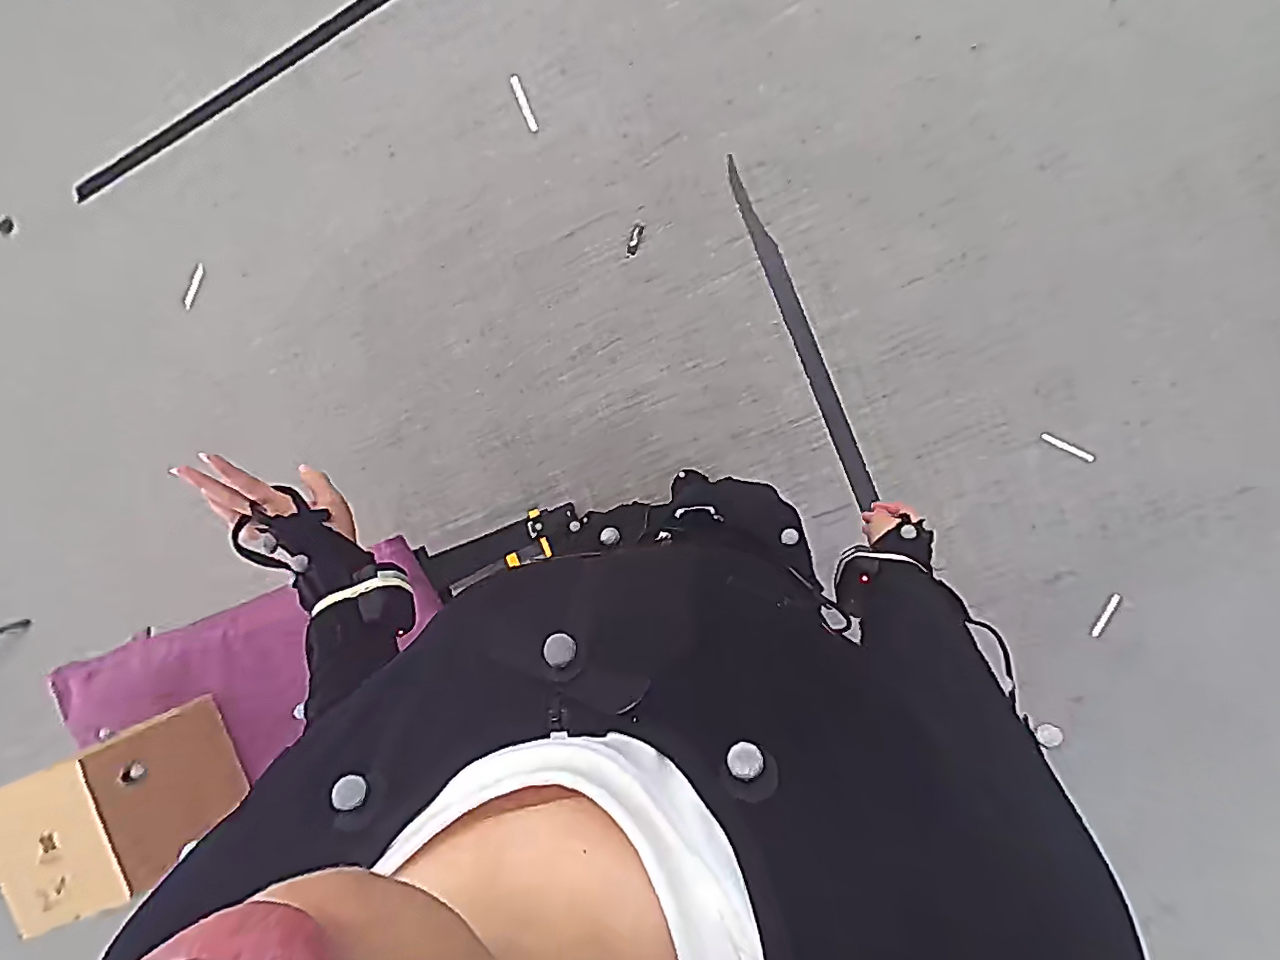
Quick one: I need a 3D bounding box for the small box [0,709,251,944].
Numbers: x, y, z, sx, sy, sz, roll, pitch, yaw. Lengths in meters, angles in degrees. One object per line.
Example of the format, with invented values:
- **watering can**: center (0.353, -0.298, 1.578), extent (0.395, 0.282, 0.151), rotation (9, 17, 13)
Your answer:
- **small box**: center (-0.654, 0.419, 0.689), extent (0.168, 0.176, 0.179), rotation (-23, 89, 9)
